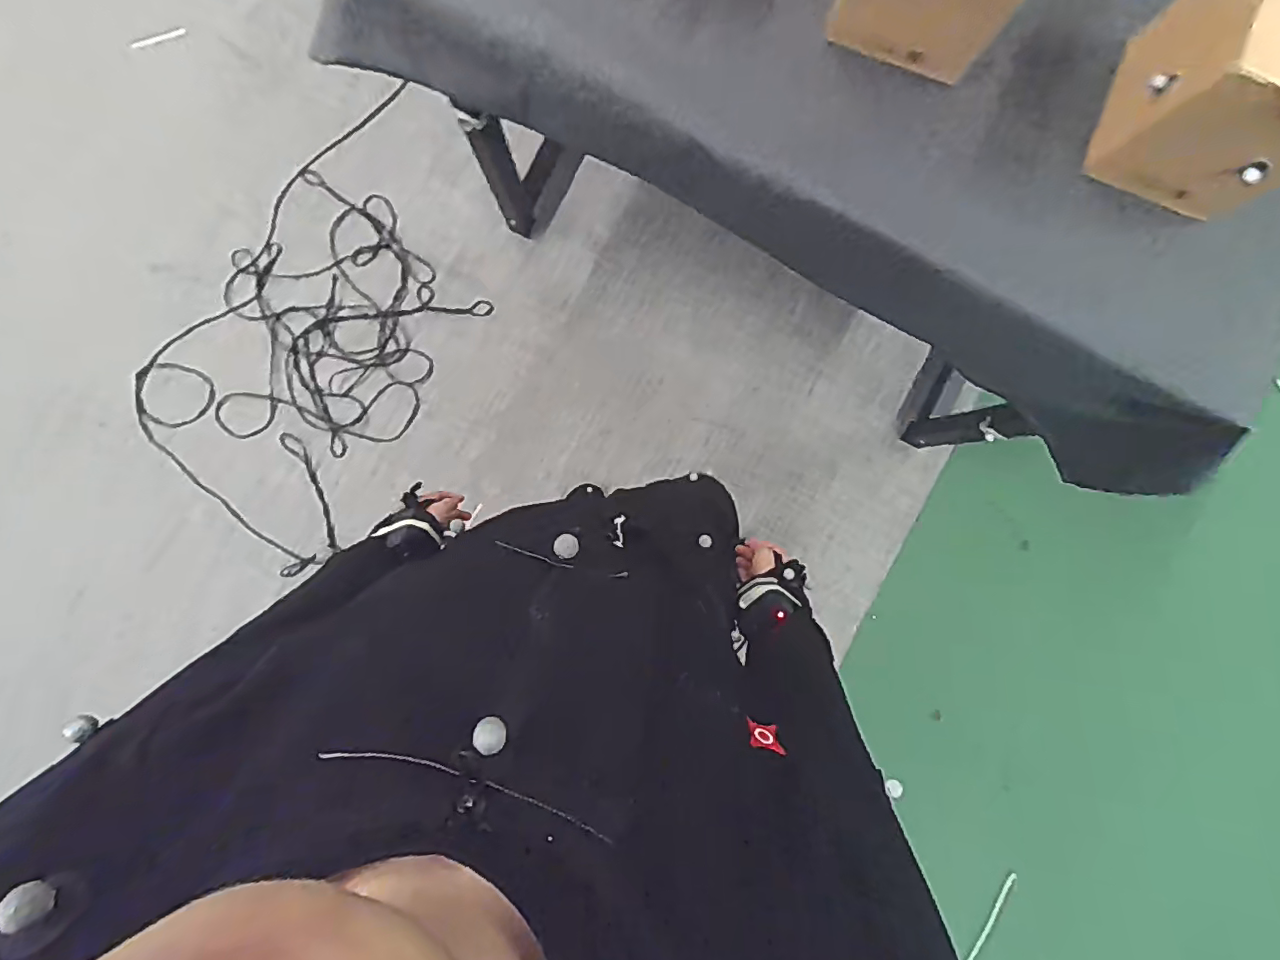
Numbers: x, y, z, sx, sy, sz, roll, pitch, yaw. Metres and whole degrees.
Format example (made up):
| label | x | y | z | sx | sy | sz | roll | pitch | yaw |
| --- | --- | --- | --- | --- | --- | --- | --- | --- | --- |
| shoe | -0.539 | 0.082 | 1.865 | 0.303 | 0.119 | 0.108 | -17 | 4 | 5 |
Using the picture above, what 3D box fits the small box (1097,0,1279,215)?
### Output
| label | x | y | z | sx | sy | sz | roll | pitch | yaw |
| --- | --- | --- | --- | --- | --- | --- | --- | --- | --- |
| small box | 0.636 | -0.415 | 0.562 | 0.168 | 0.176 | 0.179 | 21 | 88 | -3 |
